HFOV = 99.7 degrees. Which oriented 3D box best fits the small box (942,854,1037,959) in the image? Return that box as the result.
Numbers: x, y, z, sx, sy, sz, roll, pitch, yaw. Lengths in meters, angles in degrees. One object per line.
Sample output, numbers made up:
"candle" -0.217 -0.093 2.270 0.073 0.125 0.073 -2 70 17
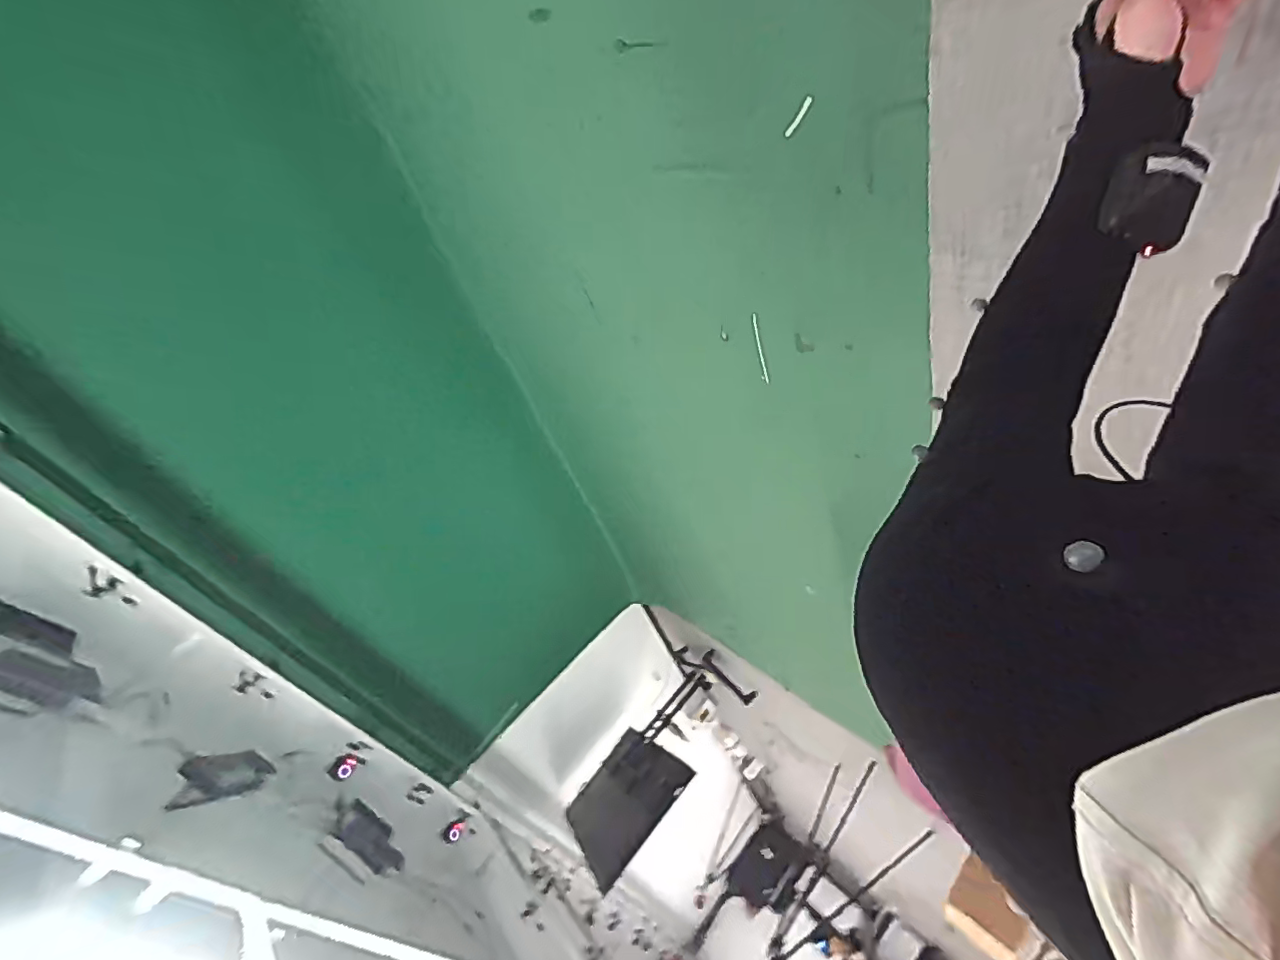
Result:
"small box" 0.937 1.158 1.454 0.168 0.176 0.179 24 147 46
